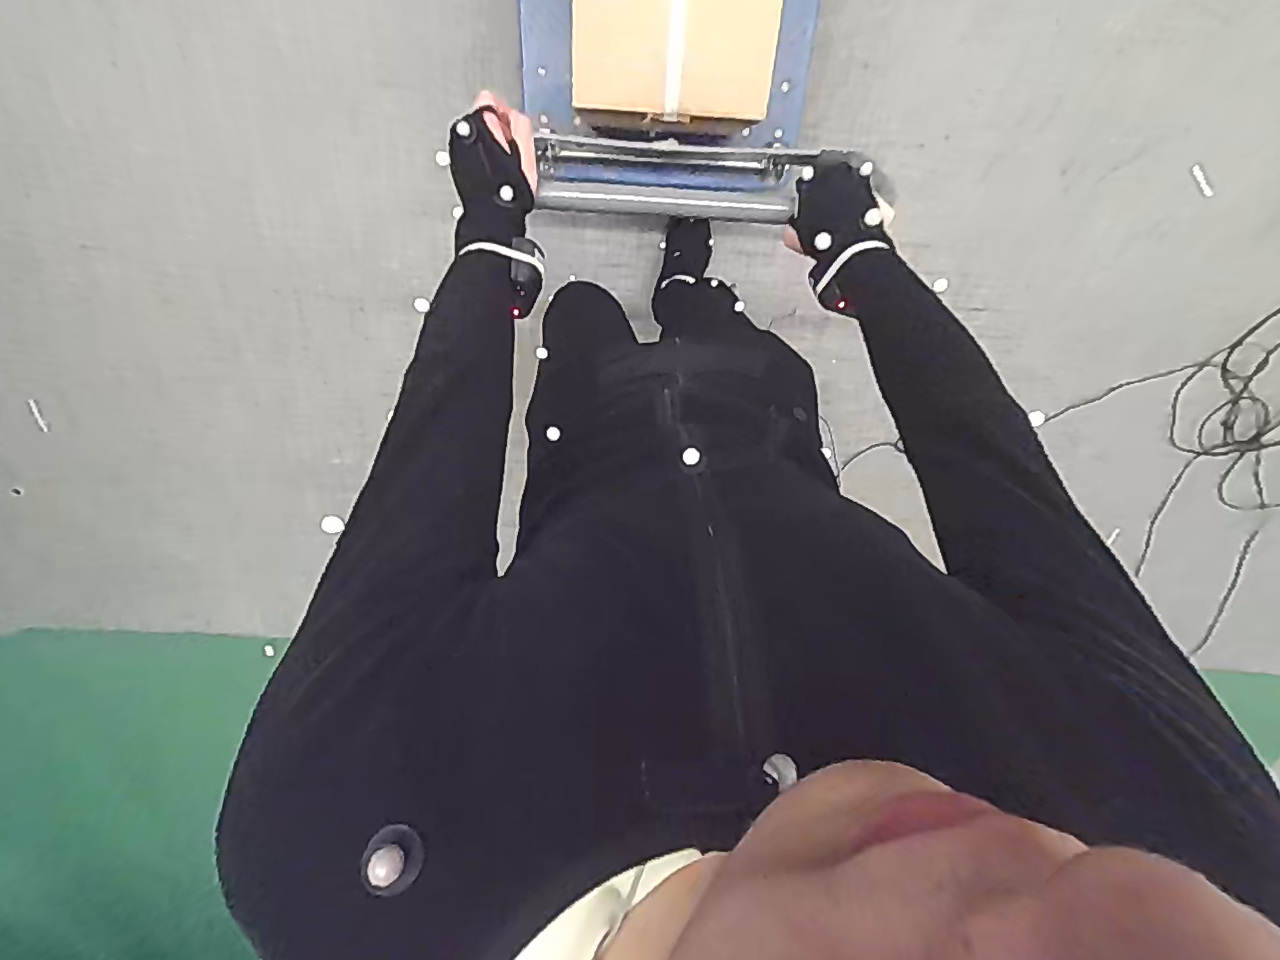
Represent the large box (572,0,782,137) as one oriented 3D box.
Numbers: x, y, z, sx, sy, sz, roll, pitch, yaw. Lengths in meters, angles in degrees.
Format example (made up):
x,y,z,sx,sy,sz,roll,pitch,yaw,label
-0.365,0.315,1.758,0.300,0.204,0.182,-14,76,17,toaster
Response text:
x,y,z,sx,sy,sz,roll,pitch,yaw,label
0.059,-0.826,0.904,0.320,0.320,0.408,2,117,-2,large box
